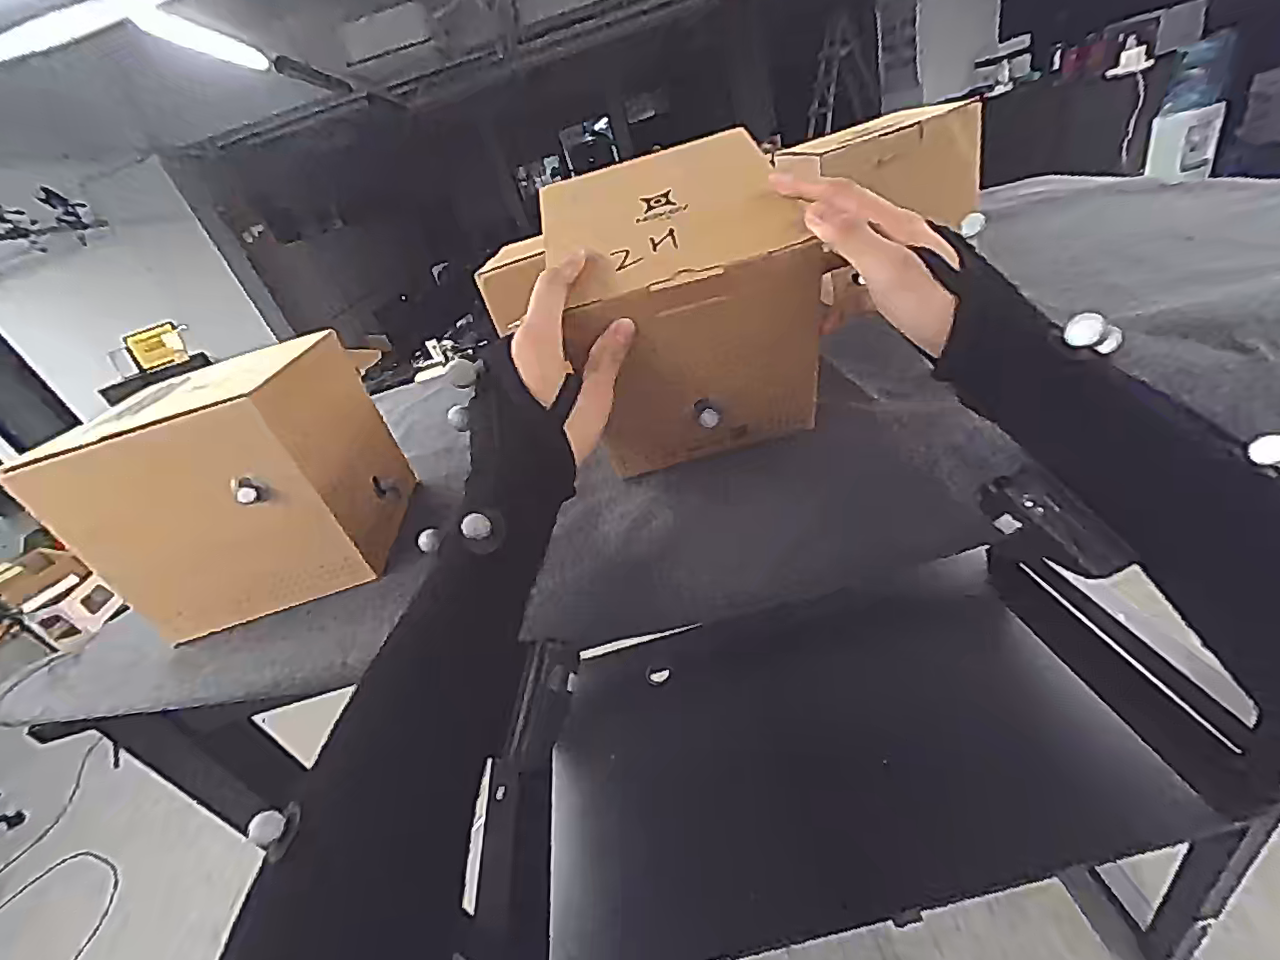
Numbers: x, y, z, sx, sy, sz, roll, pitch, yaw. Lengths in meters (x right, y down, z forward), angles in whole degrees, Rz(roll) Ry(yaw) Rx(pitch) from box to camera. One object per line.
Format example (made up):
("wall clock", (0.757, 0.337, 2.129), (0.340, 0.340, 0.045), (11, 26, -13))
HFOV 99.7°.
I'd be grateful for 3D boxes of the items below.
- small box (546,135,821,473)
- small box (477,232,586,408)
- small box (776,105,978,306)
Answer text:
("small box", (0.030, -0.134, 0.430), (0.168, 0.176, 0.179), (-14, 51, 4))
("small box", (-0.068, -0.210, 0.660), (0.179, 0.176, 0.168), (-15, 31, 7))
("small box", (0.280, -0.326, 0.658), (0.168, 0.176, 0.179), (-15, 30, 5))
